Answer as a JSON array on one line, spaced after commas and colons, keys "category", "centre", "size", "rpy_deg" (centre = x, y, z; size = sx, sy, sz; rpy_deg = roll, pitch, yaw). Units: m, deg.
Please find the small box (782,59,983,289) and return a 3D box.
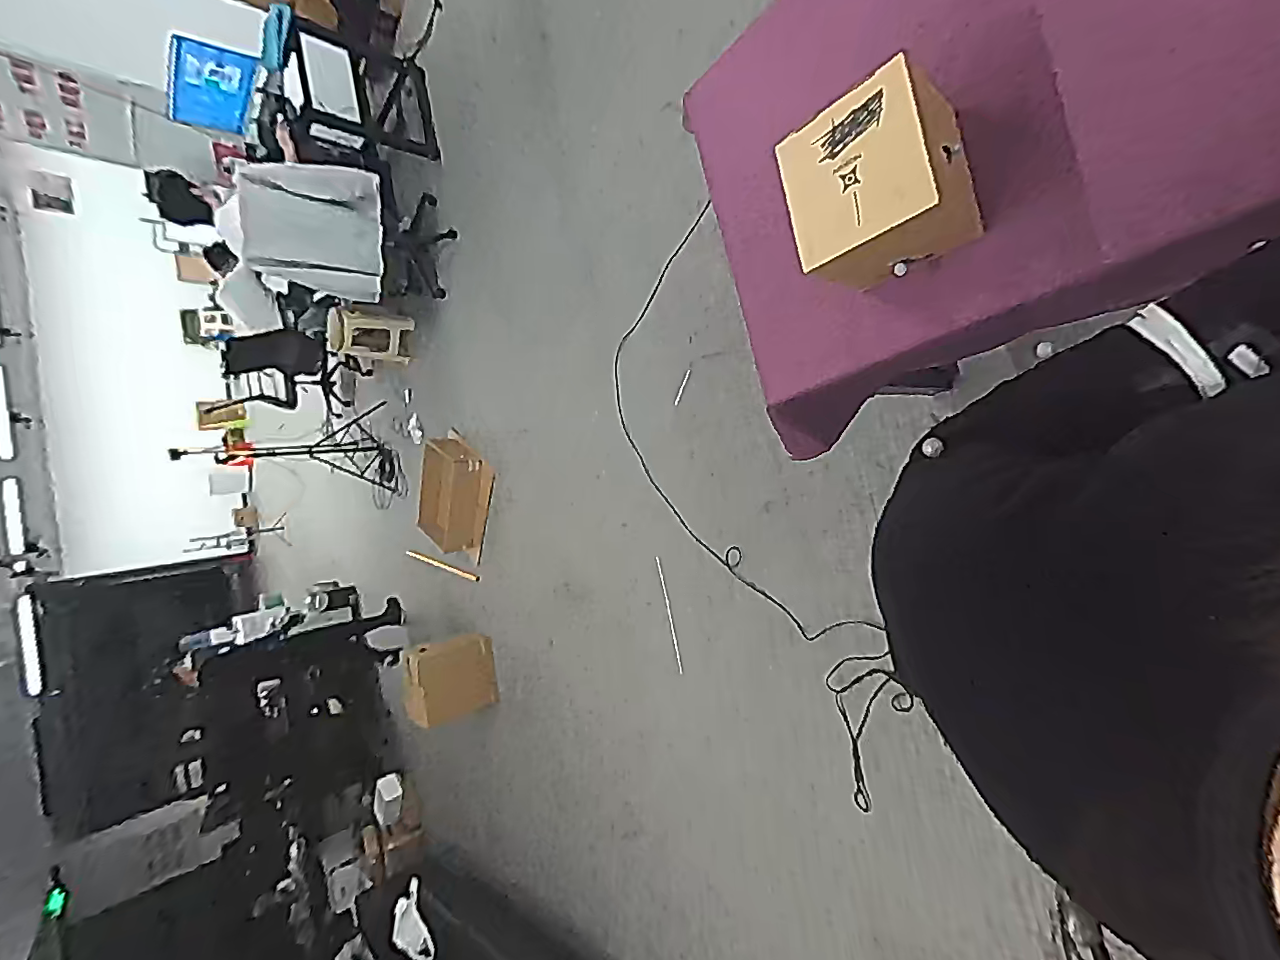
[{"category": "small box", "centre": [0.310, -0.367, 0.690], "size": [0.168, 0.176, 0.179], "rpy_deg": [-15, 85, 47]}]
